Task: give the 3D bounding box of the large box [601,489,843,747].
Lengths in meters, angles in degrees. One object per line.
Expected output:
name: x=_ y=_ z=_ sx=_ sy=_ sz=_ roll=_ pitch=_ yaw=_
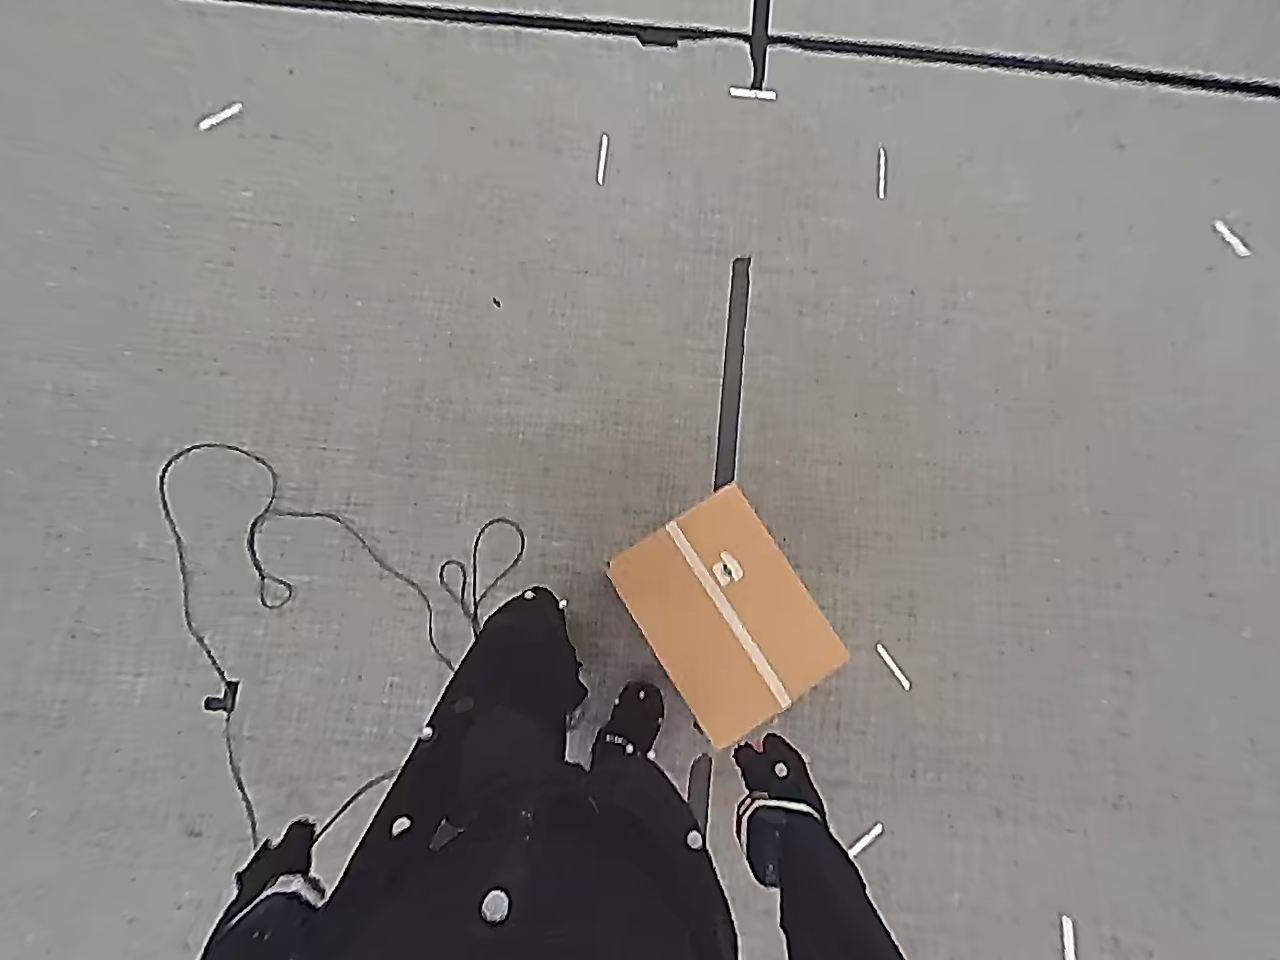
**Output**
large box: x=0.156 y=0.286 z=1.192 sx=0.320 sy=0.320 sz=0.408 roll=-32 pitch=81 yaw=-7
